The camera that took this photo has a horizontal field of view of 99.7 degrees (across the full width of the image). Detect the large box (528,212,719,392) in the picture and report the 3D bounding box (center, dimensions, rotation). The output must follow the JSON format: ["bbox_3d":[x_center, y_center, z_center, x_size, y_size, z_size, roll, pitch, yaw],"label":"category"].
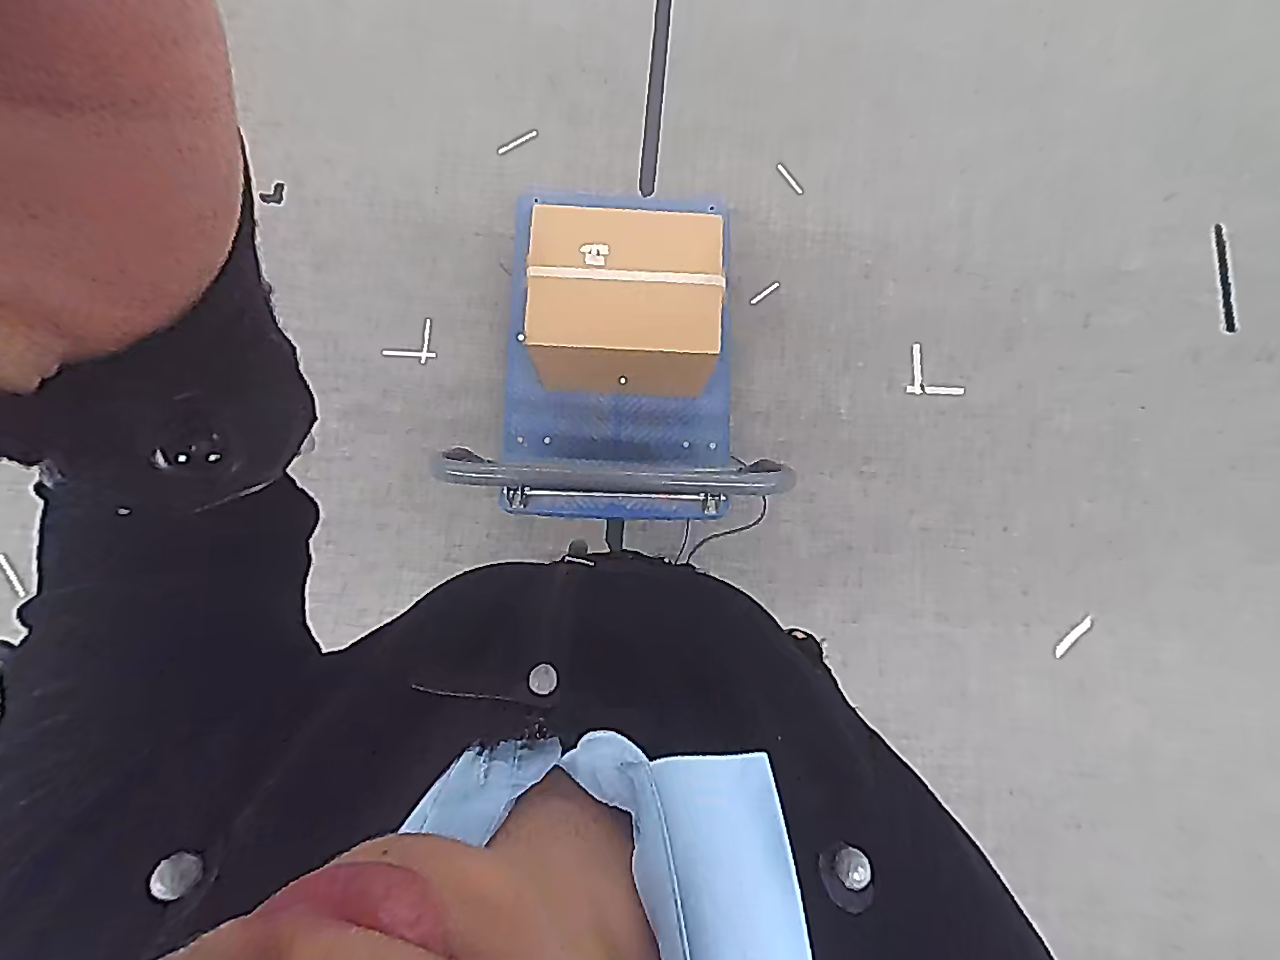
[{"bbox_3d":[-0.032,-0.403,1.291,0.408,0.320,0.320,2,81,-1],"label":"large box"}]
